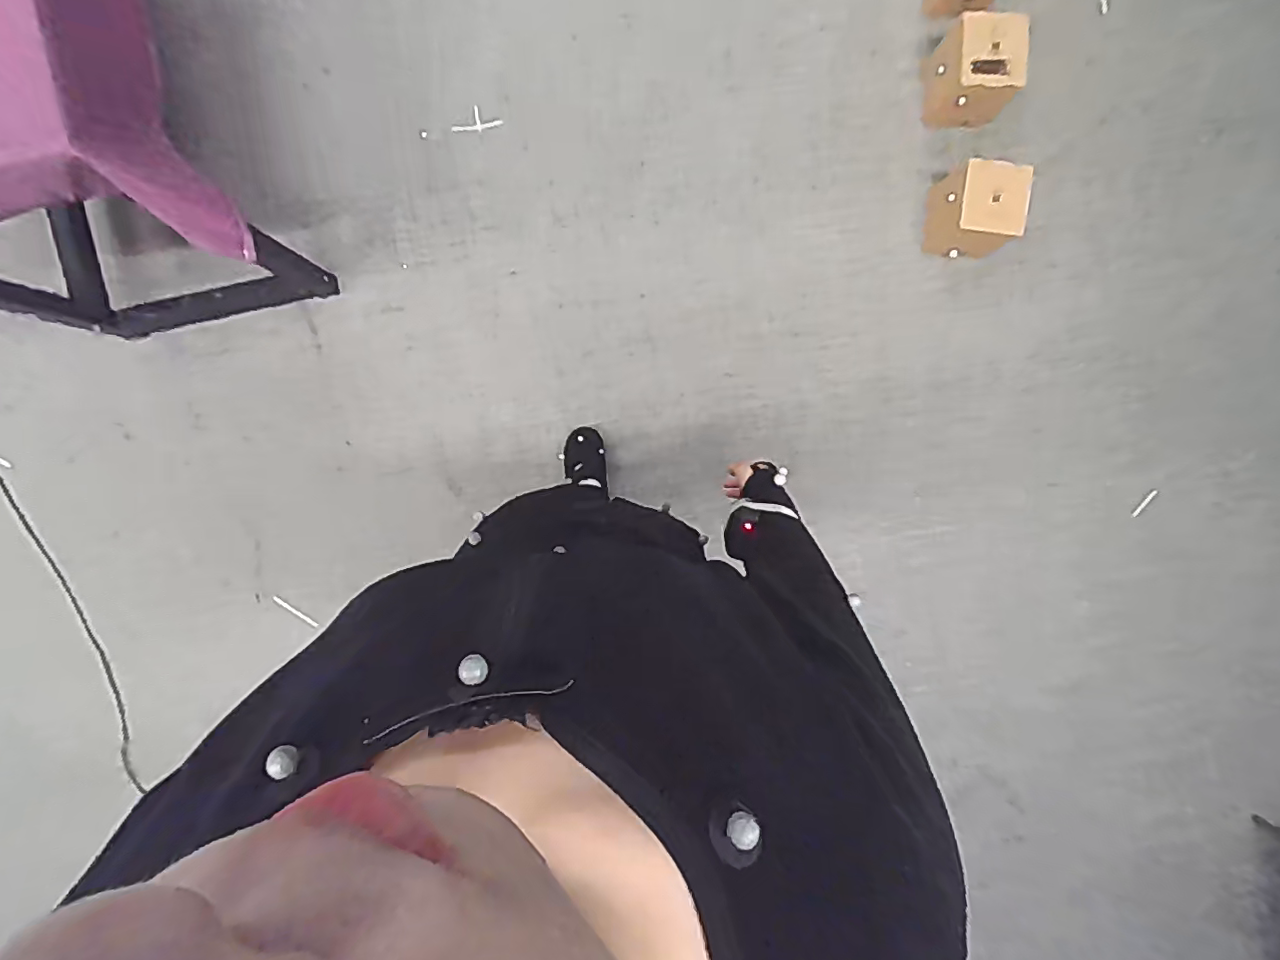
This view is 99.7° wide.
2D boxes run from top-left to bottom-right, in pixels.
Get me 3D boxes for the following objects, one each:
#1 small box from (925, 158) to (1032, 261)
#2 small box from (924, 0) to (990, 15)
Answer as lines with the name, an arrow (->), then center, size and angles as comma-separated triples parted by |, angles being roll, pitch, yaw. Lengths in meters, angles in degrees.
small box -> 0.874, -0.698, 1.413 | 0.168, 0.176, 0.179 | 7, 93, -2
small box -> 0.843, -1.337, 1.379 | 0.168, 0.176, 0.179 | -8, 93, -2
